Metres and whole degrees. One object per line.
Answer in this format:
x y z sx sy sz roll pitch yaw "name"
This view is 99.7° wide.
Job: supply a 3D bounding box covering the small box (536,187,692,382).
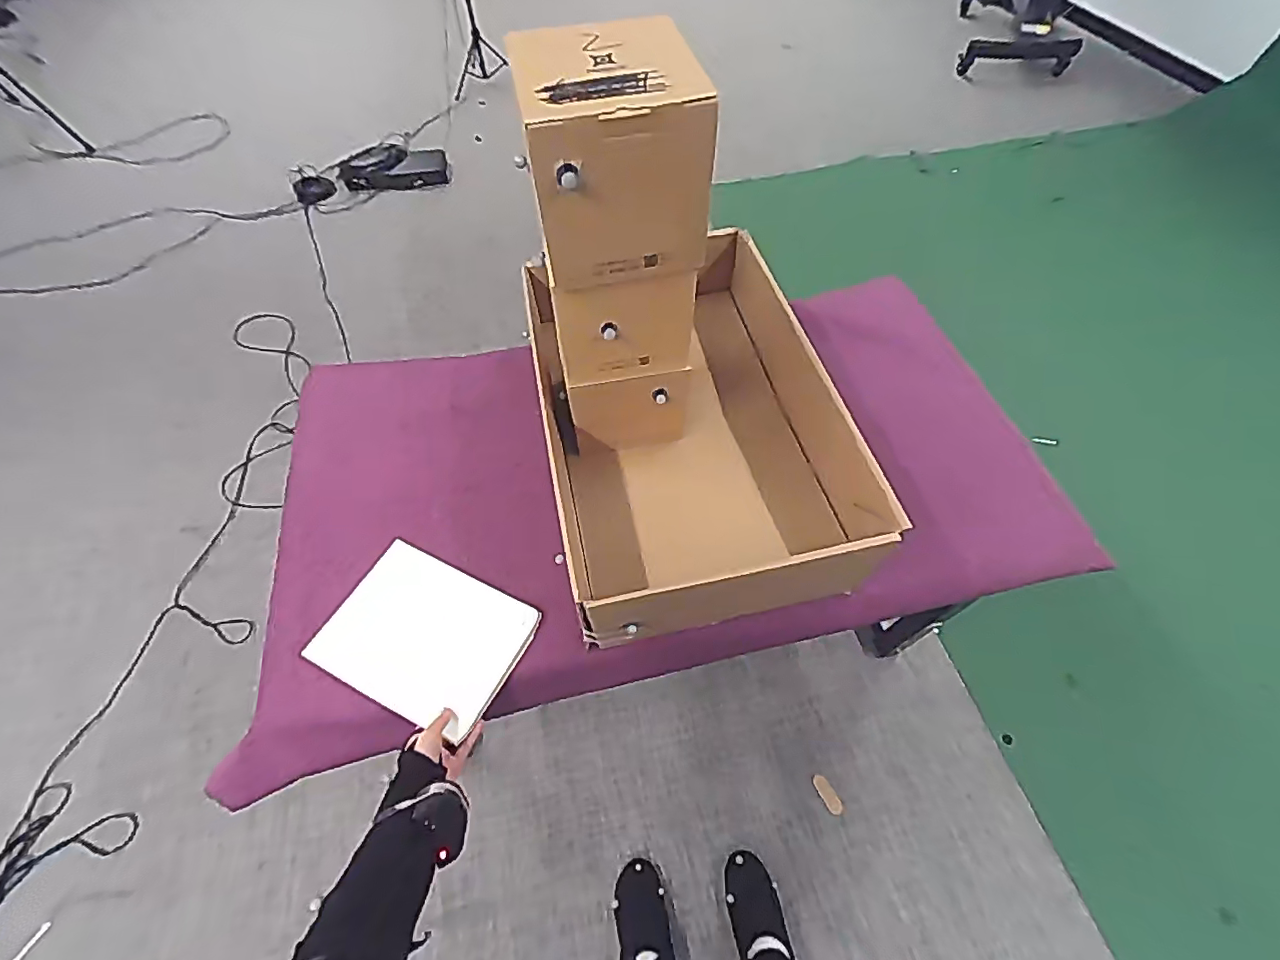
-0.033 -0.244 0.704 0.168 0.176 0.179 -10 59 -5 "small box"
